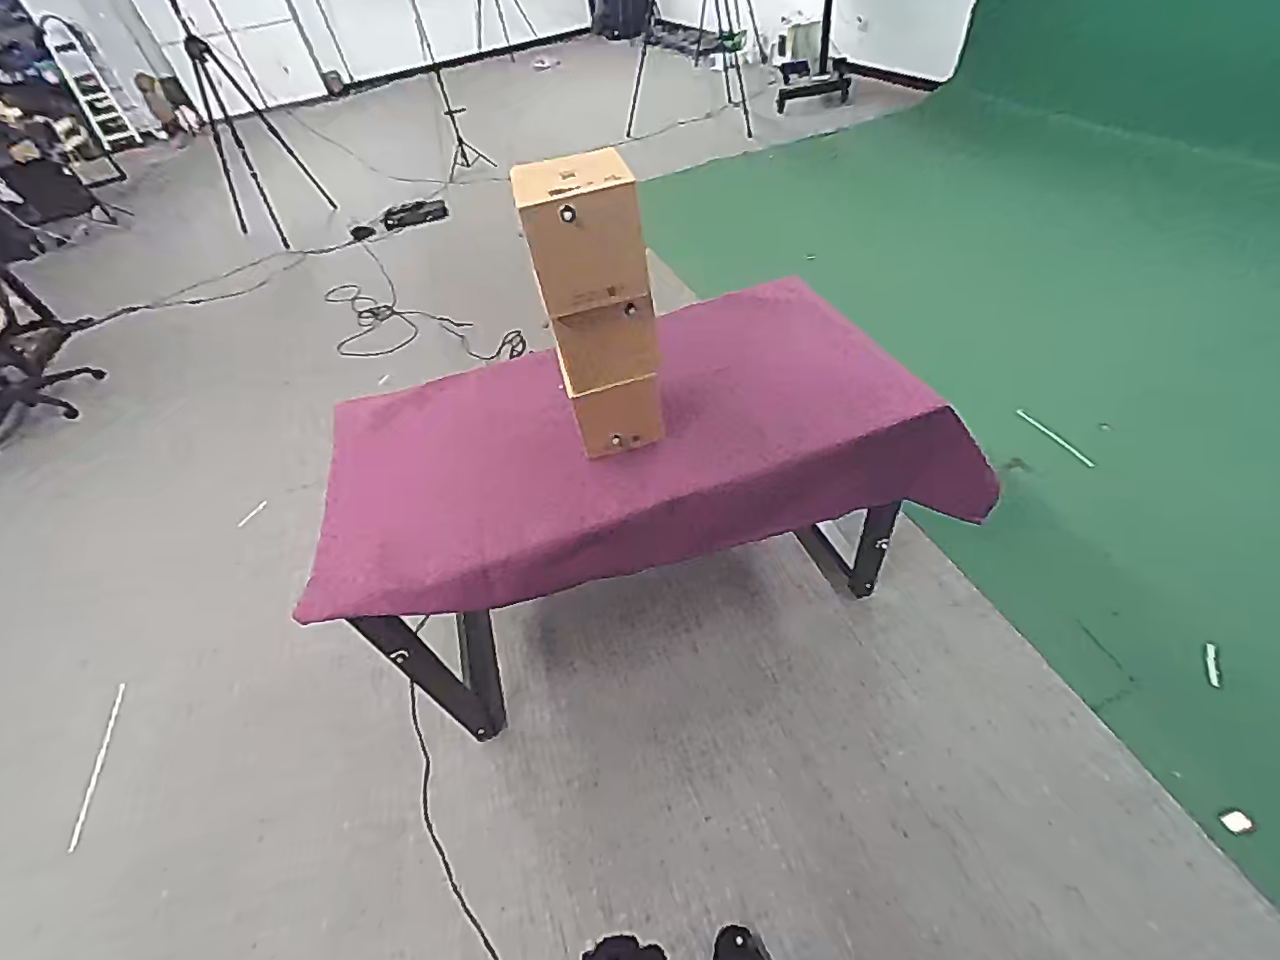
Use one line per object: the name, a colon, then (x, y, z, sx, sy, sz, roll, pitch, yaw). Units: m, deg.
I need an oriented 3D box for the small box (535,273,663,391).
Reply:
small box: (-0.071, -0.283, 0.963, 0.179, 0.176, 0.168, -17, 47, -5)

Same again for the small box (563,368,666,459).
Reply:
small box: (-0.054, -0.171, 1.079, 0.168, 0.176, 0.179, -16, 47, -3)

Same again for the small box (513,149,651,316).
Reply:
small box: (-0.088, -0.377, 0.828, 0.168, 0.176, 0.179, -15, 46, -2)
